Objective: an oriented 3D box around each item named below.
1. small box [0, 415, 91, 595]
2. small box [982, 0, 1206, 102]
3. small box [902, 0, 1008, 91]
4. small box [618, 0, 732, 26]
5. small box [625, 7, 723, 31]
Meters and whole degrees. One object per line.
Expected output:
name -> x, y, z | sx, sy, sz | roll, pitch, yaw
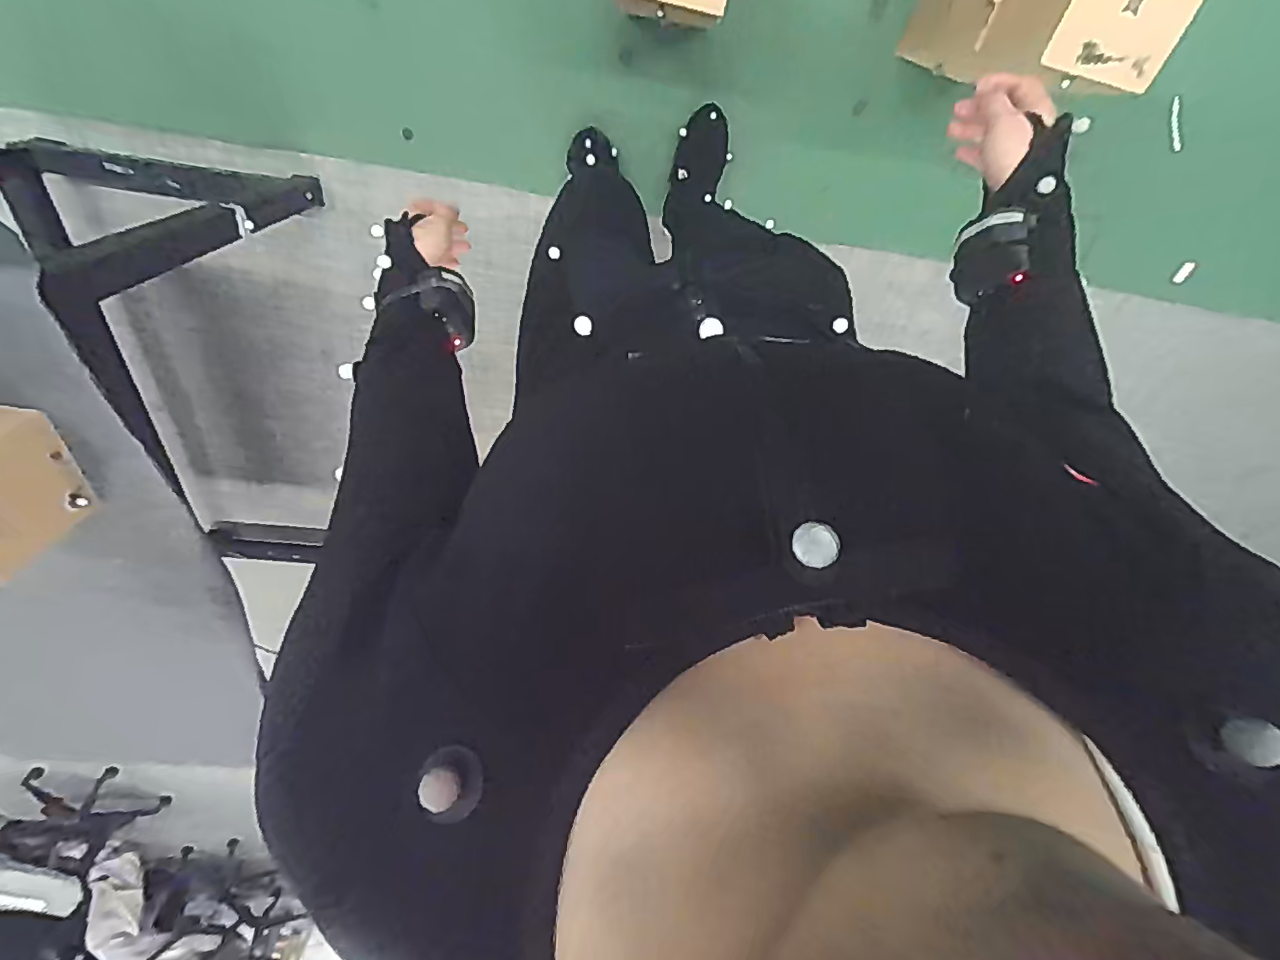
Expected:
small box -> -0.867, 0.021, 0.683 | 0.179, 0.176, 0.168 | 8, 127, -4
small box -> 0.615, -0.641, 0.734 | 0.168, 0.176, 0.179 | 8, 126, -10
small box -> 0.615, -0.847, 0.991 | 0.168, 0.176, 0.179 | 12, 126, -11
small box -> 0.058, -0.799, 0.803 | 0.179, 0.176, 0.168 | 7, 127, -8
small box -> 0.067, -0.897, 0.934 | 0.179, 0.176, 0.168 | 6, 128, -6
